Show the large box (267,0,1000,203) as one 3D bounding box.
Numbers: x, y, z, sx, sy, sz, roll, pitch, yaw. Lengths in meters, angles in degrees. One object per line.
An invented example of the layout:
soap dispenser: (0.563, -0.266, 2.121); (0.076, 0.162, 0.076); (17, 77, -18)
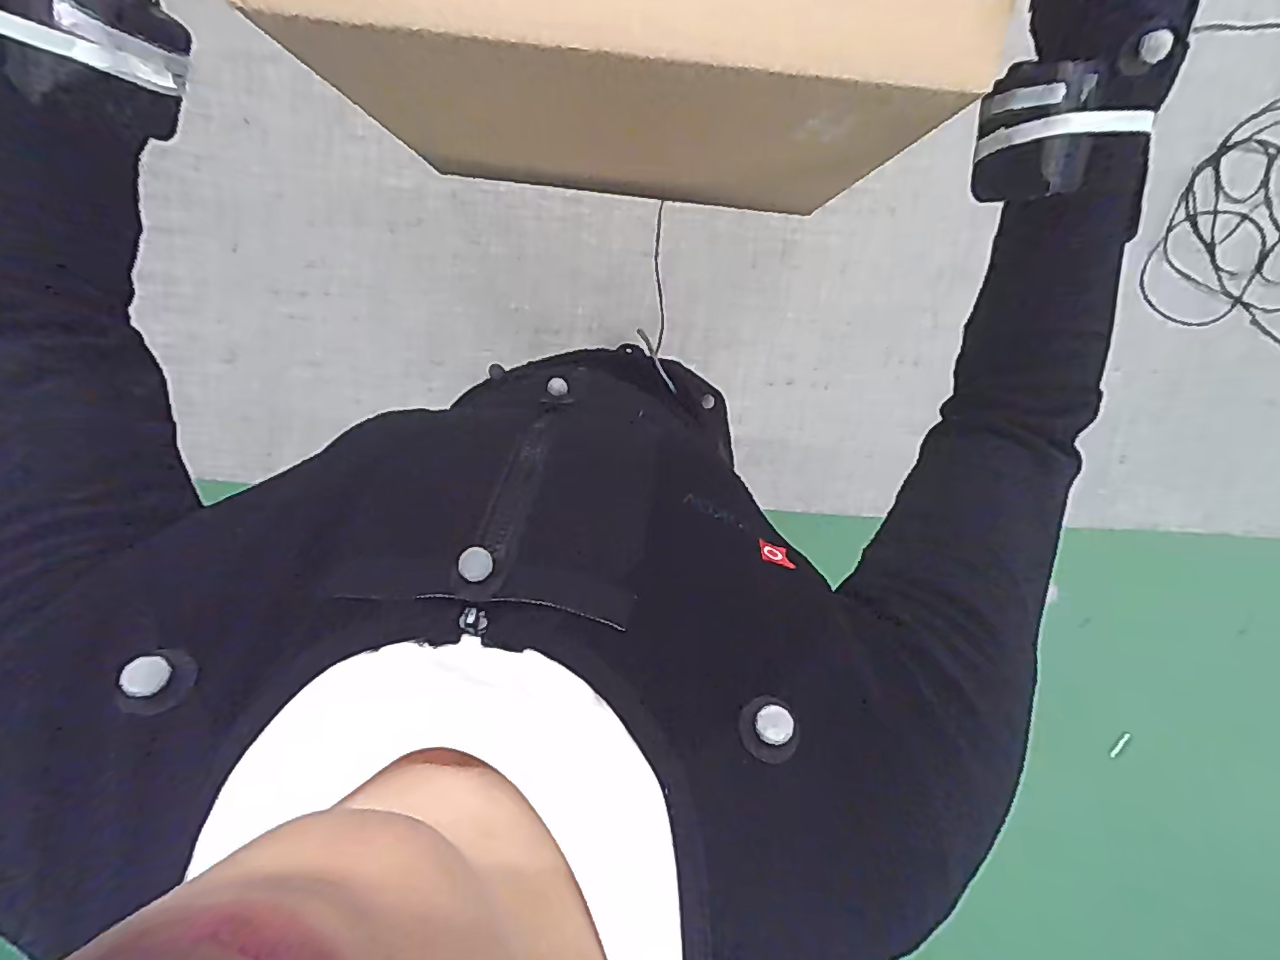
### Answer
large box: (0.004, -0.421, 0.402); (0.408, 0.320, 0.320); (5, 106, -2)
